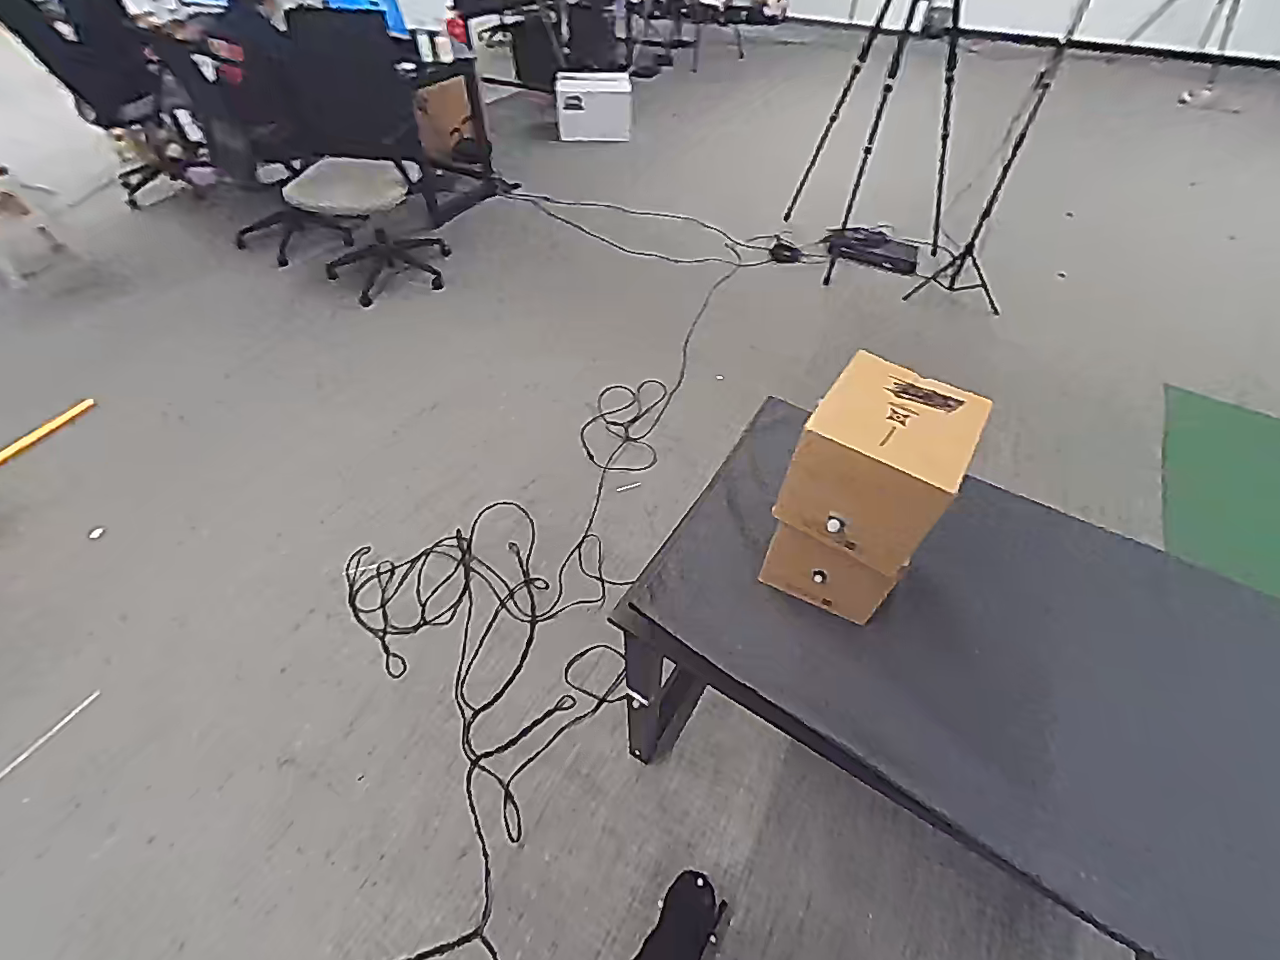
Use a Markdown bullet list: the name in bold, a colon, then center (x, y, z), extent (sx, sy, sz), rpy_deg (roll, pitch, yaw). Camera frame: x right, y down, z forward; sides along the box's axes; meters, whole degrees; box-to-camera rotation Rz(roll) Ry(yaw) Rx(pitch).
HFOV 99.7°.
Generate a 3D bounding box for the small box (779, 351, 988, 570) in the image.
- **small box**: center (0.292, -0.024, 0.675), extent (0.168, 0.176, 0.179), rpy_deg (29, 55, 21)

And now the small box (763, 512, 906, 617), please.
- **small box**: center (0.295, 0.074, 0.809), extent (0.168, 0.176, 0.179), rpy_deg (22, 52, 16)
